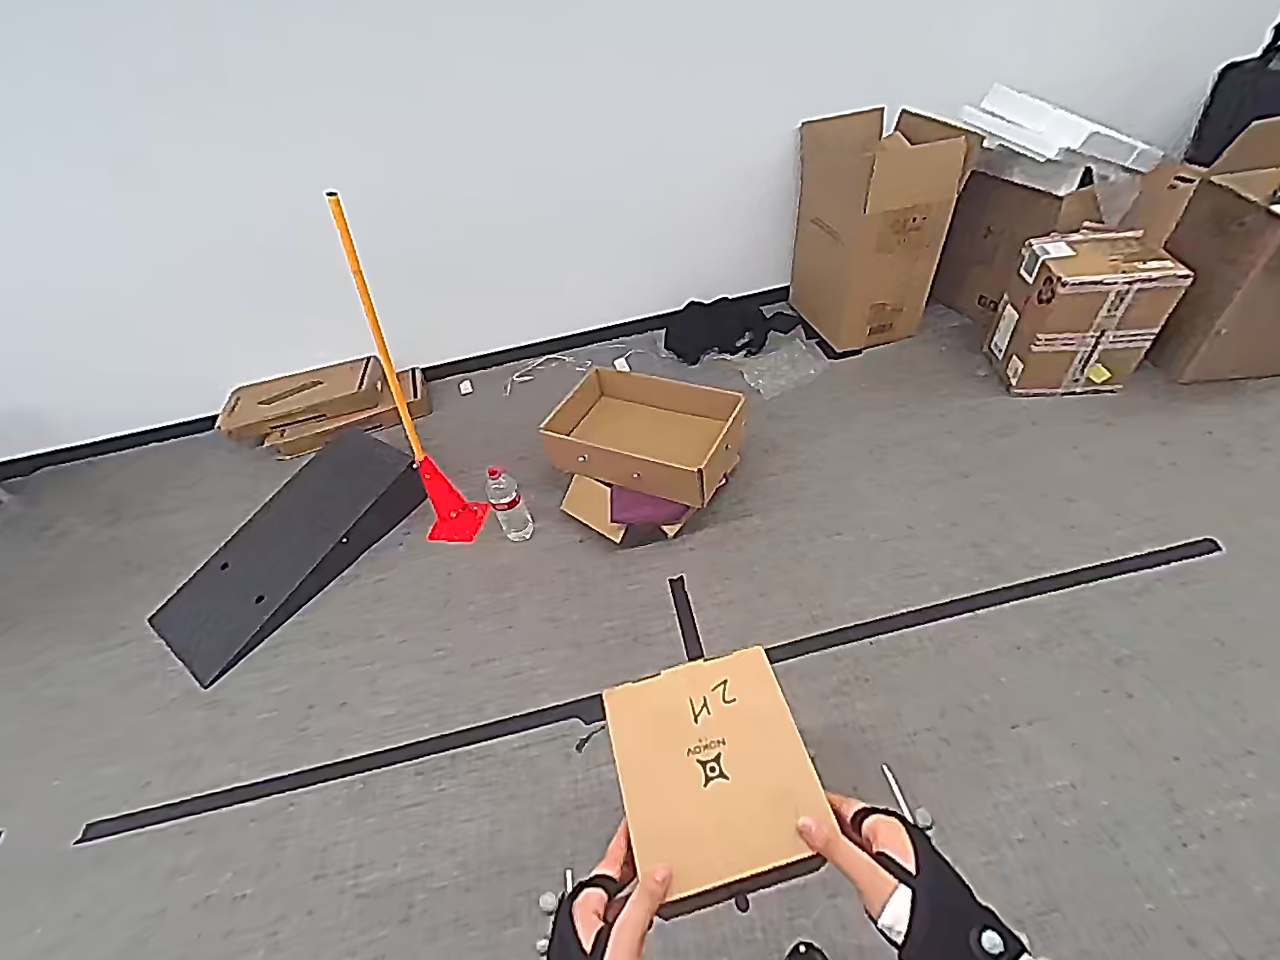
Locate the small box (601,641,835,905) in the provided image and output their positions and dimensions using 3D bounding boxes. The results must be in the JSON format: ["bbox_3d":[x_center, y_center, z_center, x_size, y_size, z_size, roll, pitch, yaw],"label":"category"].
[{"bbox_3d":[0.070,0.294,0.536,0.168,0.176,0.179,-15,47,-4],"label":"small box"}]
